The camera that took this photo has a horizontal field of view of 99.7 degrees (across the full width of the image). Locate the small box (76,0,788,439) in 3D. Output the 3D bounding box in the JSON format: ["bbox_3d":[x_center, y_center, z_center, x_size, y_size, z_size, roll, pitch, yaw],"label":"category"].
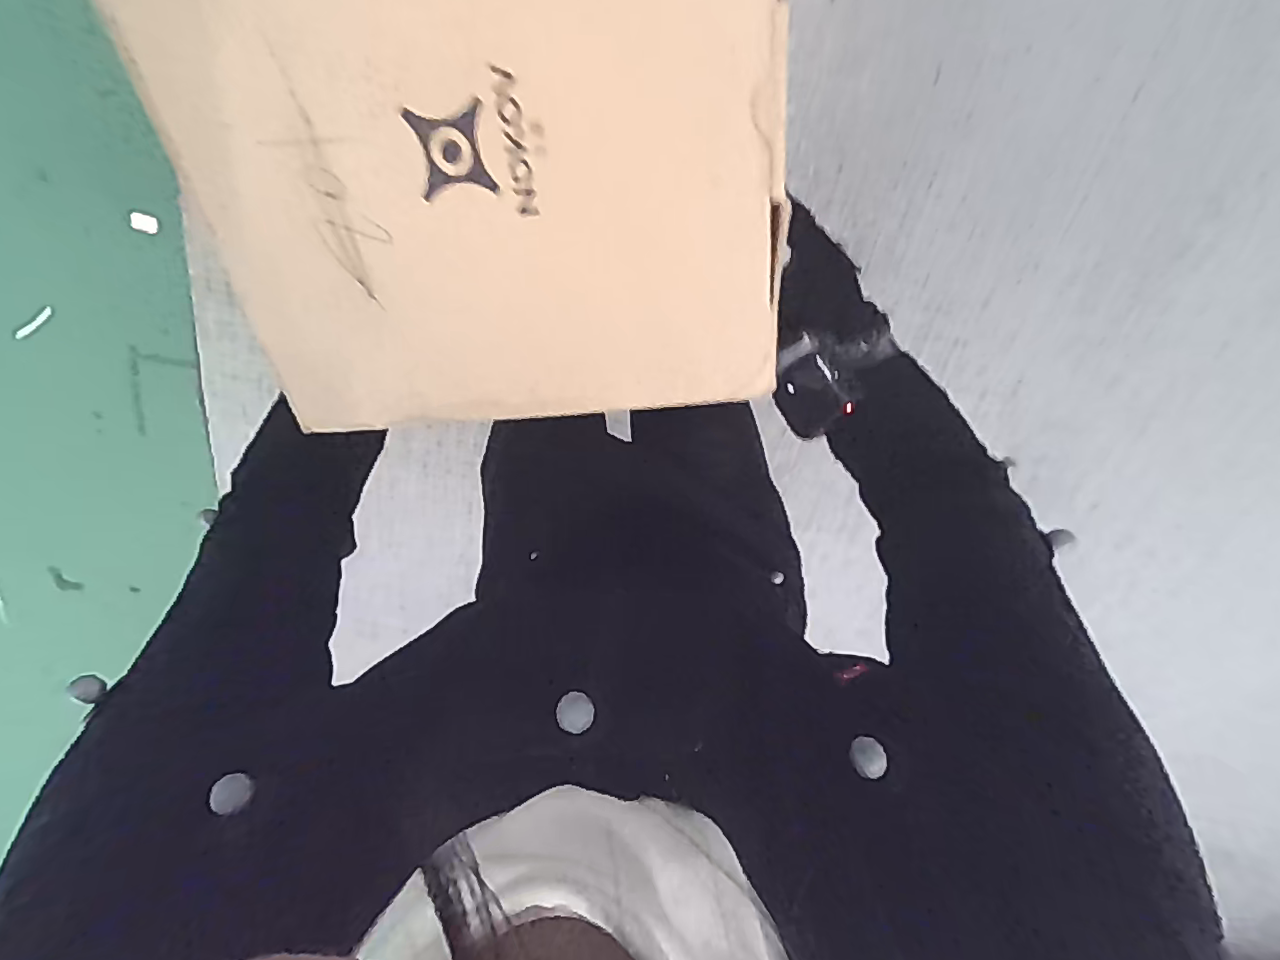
[{"bbox_3d":[-0.044,-0.131,0.214,0.179,0.176,0.168,-3,120,8],"label":"small box"}]
